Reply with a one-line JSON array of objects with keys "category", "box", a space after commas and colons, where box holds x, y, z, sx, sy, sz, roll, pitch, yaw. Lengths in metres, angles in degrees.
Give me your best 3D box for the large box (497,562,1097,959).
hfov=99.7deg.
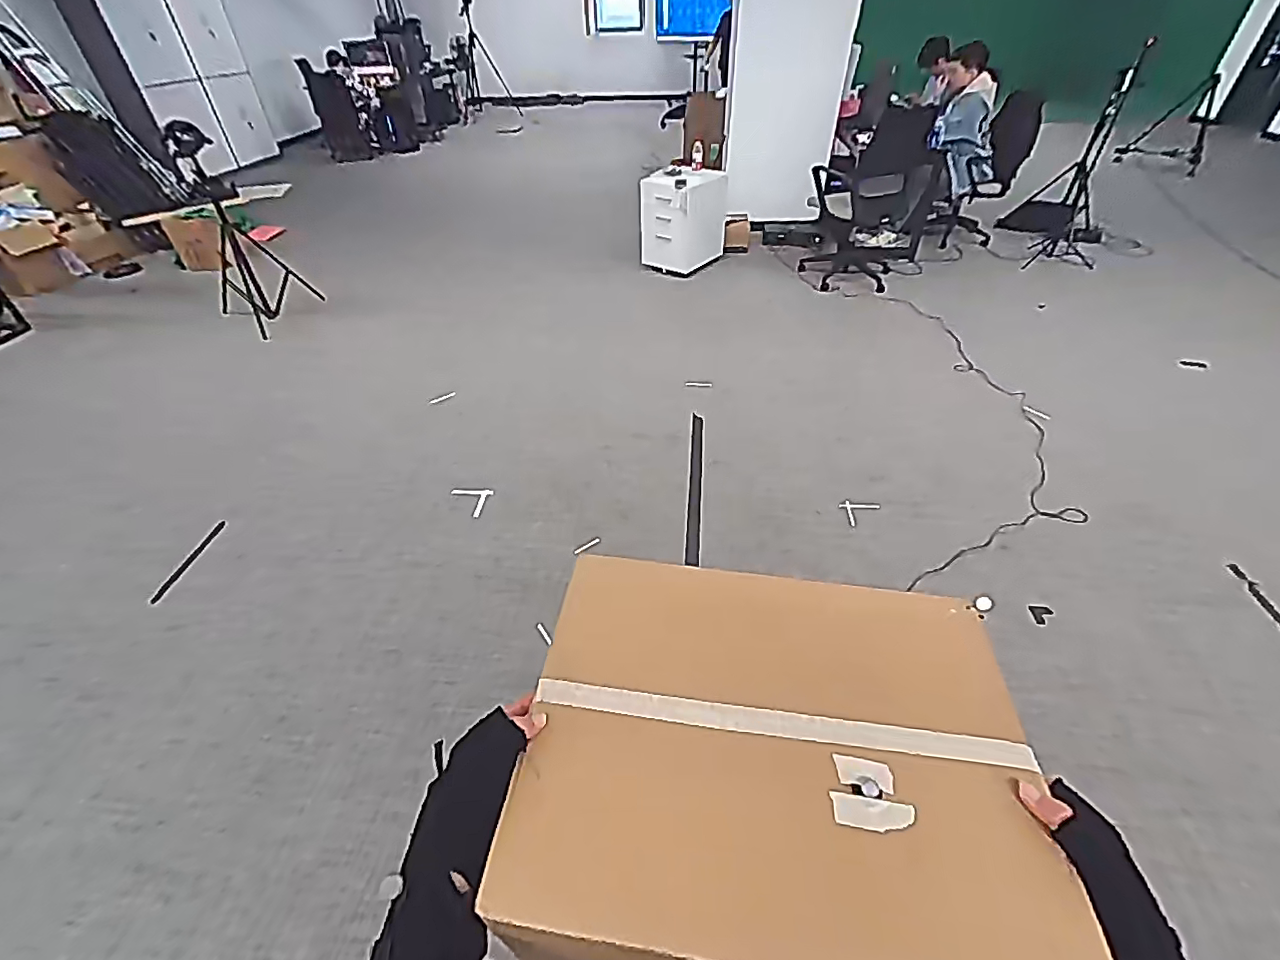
[{"category": "large box", "box": [0.112, 0.317, 0.560, 0.408, 0.320, 0.320, 6, 43, 6]}]
